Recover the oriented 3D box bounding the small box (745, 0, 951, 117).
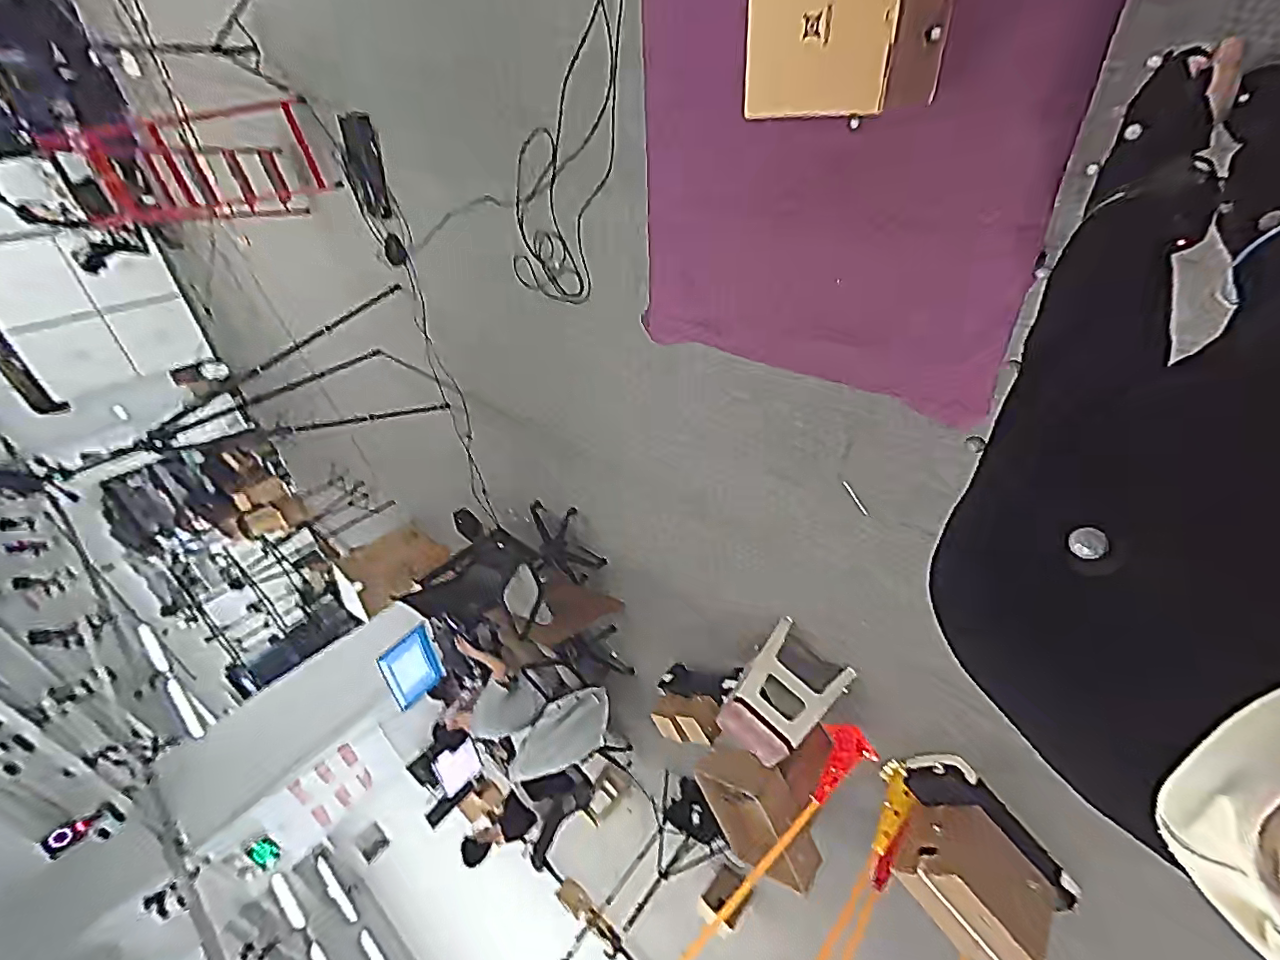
[{"bbox_3d":[0.248,-0.536,0.646,0.179,0.176,0.168,23,133,33],"label":"small box"}]
